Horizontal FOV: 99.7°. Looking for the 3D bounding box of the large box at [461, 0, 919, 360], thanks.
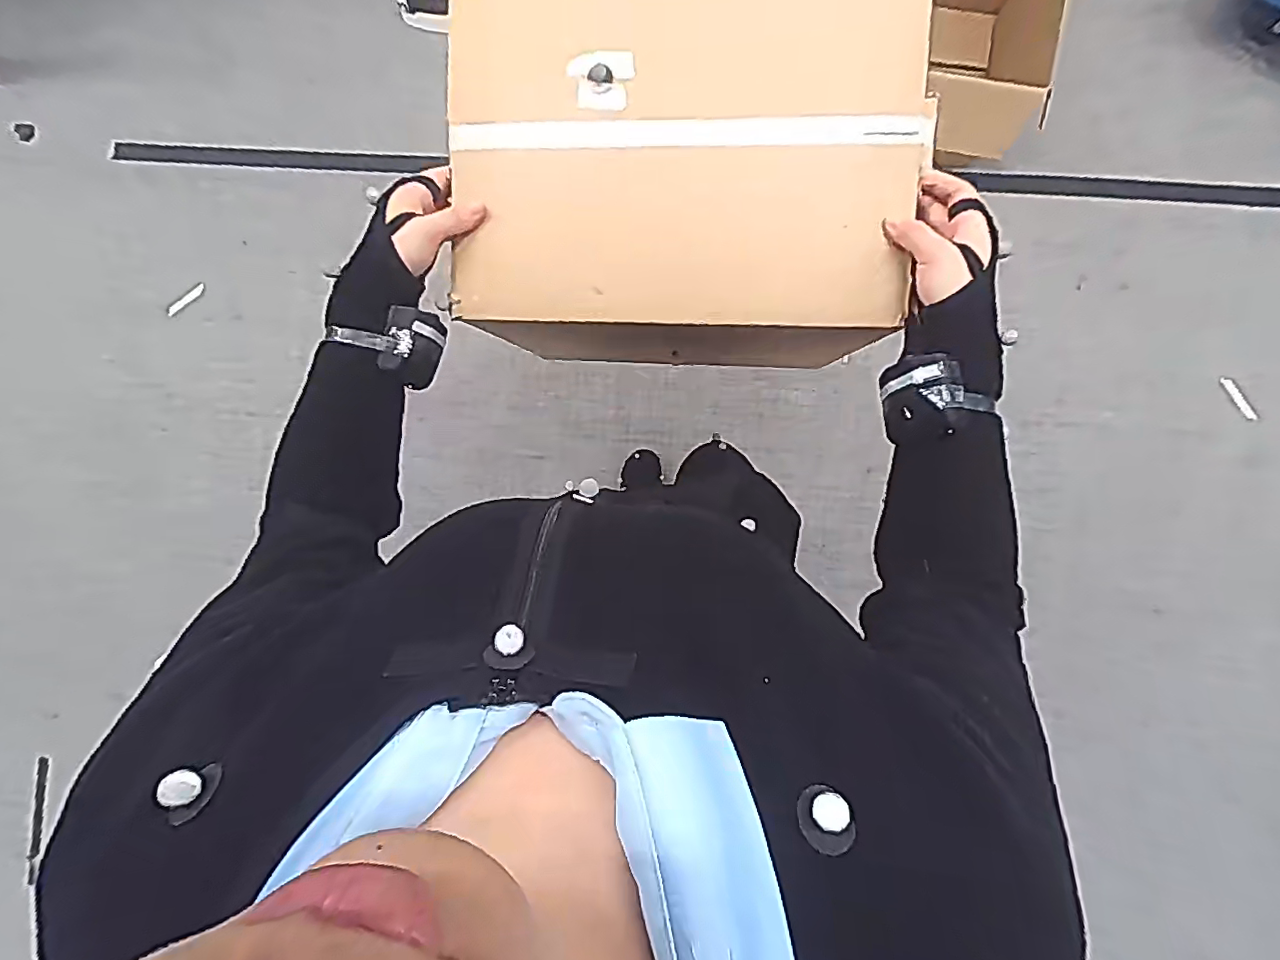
[{"bbox_3d":[0.051,-0.311,0.624,0.408,0.320,0.320,2,94,7],"label":"large box"}]
